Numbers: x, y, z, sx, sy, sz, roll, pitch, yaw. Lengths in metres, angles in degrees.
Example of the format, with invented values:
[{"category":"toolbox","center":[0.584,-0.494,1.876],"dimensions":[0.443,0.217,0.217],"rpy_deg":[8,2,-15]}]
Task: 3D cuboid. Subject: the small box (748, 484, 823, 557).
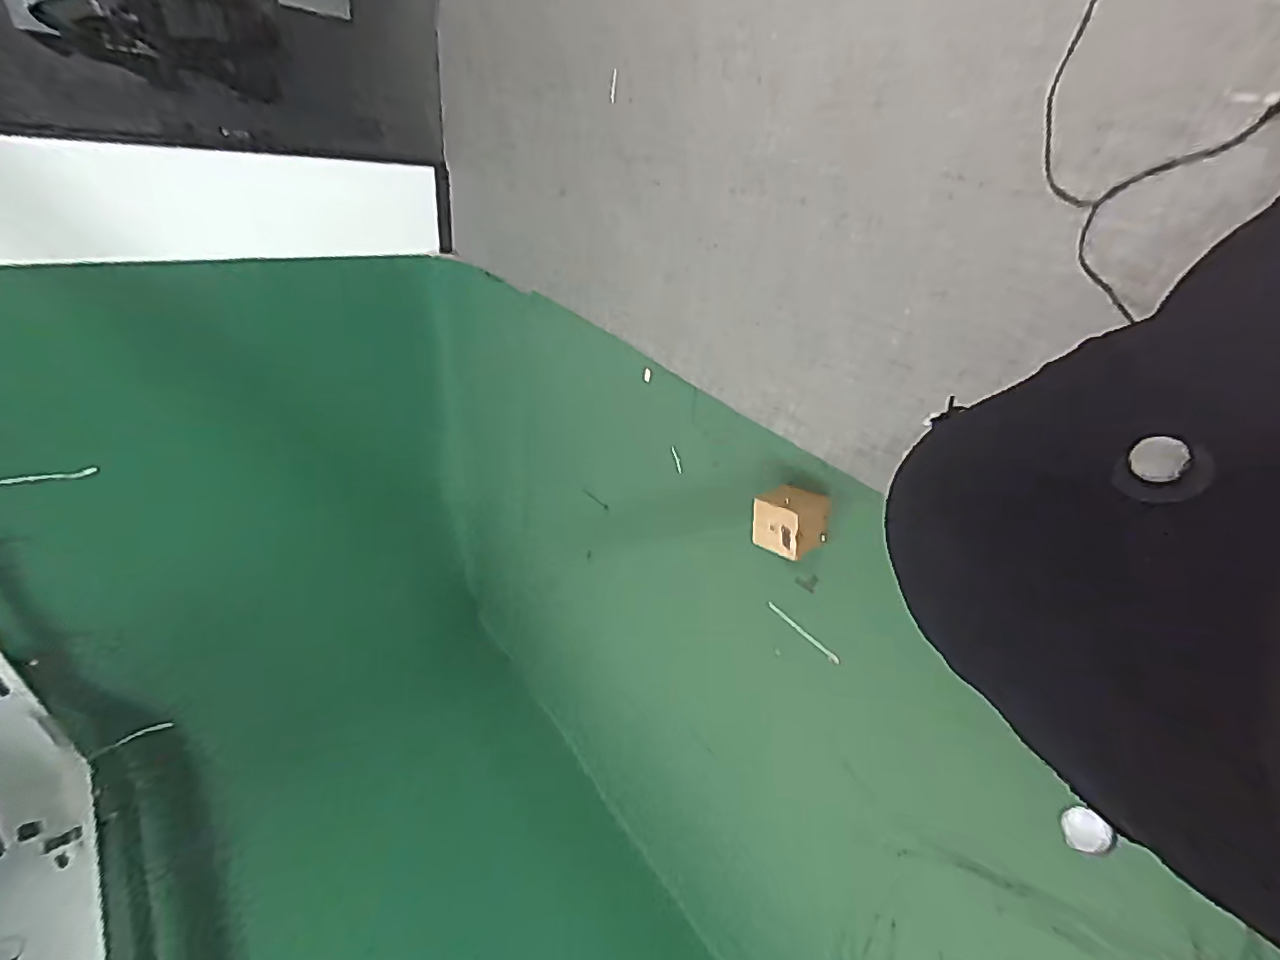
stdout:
[{"category":"small box","center":[0.481,0.127,1.784],"dimensions":[0.179,0.176,0.168],"rpy_deg":[22,122,45]}]
